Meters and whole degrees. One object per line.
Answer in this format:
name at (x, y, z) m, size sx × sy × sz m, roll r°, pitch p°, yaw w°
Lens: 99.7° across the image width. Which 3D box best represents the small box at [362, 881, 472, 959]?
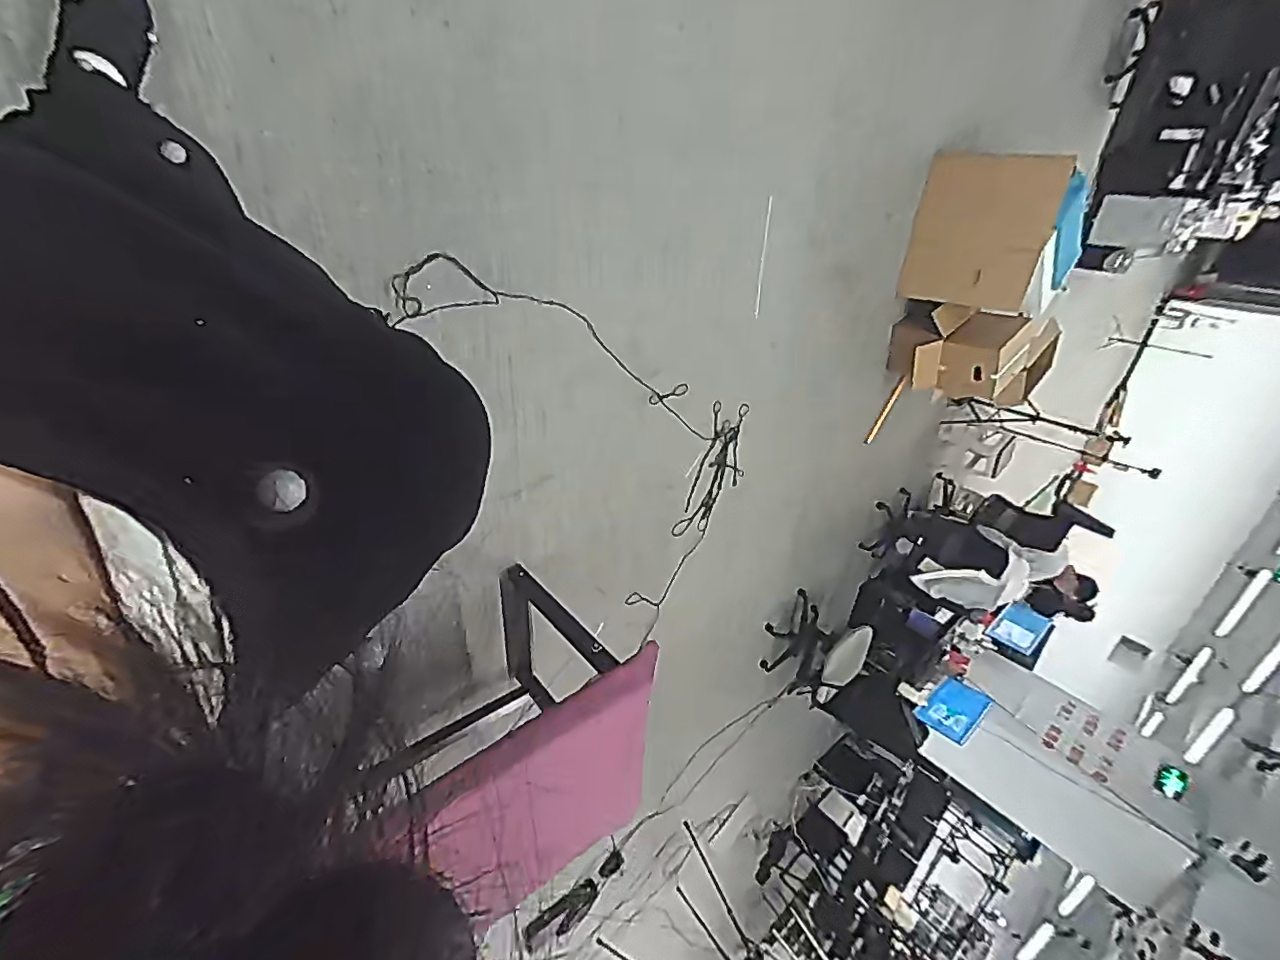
small box at (-0.486, 1.045, 1.188) m, size 0.179 × 0.176 × 0.168 m, roll -15°, pitch 122°, yaw -39°
